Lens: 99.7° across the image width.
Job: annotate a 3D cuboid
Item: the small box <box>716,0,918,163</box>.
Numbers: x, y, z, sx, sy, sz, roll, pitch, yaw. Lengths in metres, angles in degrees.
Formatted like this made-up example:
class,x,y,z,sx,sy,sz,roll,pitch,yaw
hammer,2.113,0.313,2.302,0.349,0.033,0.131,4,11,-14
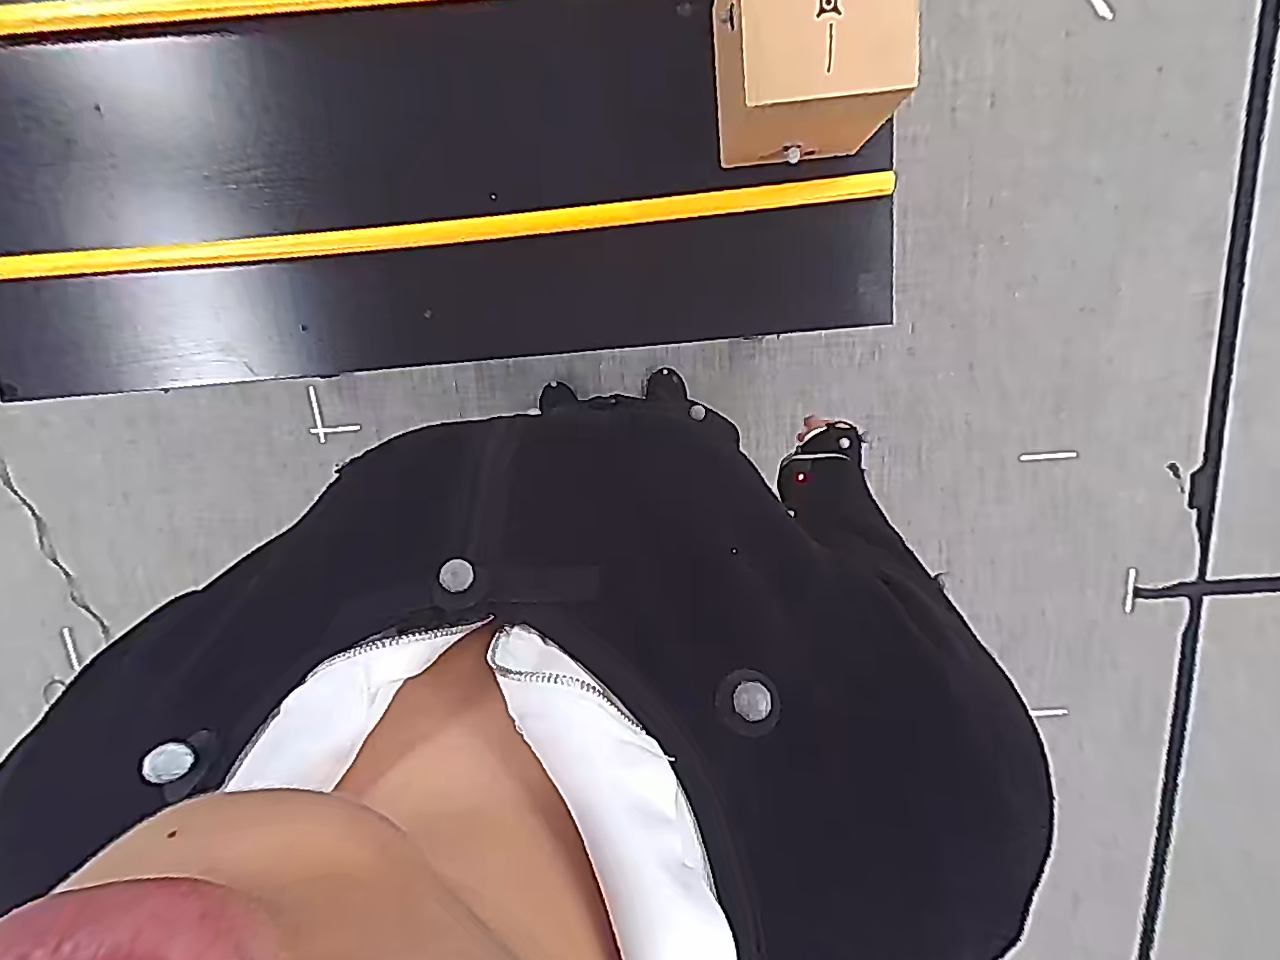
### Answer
class,x,y,z,sx,sy,sz,roll,pitch,yaw
small box,0.176,-0.470,0.579,0.168,0.176,0.179,-5,102,2
